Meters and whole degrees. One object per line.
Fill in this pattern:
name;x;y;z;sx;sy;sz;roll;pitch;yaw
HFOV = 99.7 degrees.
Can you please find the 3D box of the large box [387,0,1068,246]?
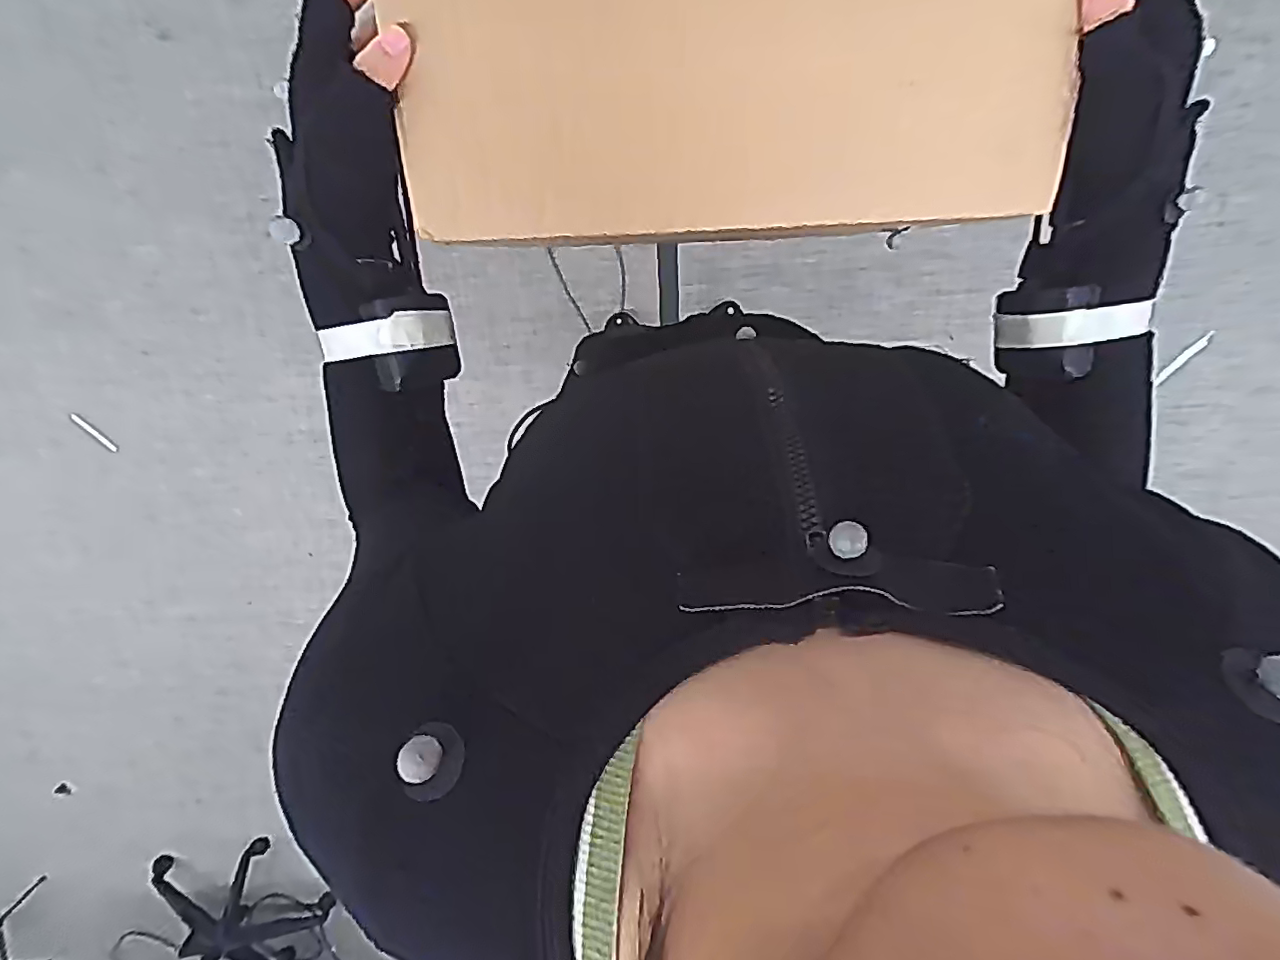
large box;0.049;-0.367;0.434;0.408;0.320;0.320;-3;112;-1
